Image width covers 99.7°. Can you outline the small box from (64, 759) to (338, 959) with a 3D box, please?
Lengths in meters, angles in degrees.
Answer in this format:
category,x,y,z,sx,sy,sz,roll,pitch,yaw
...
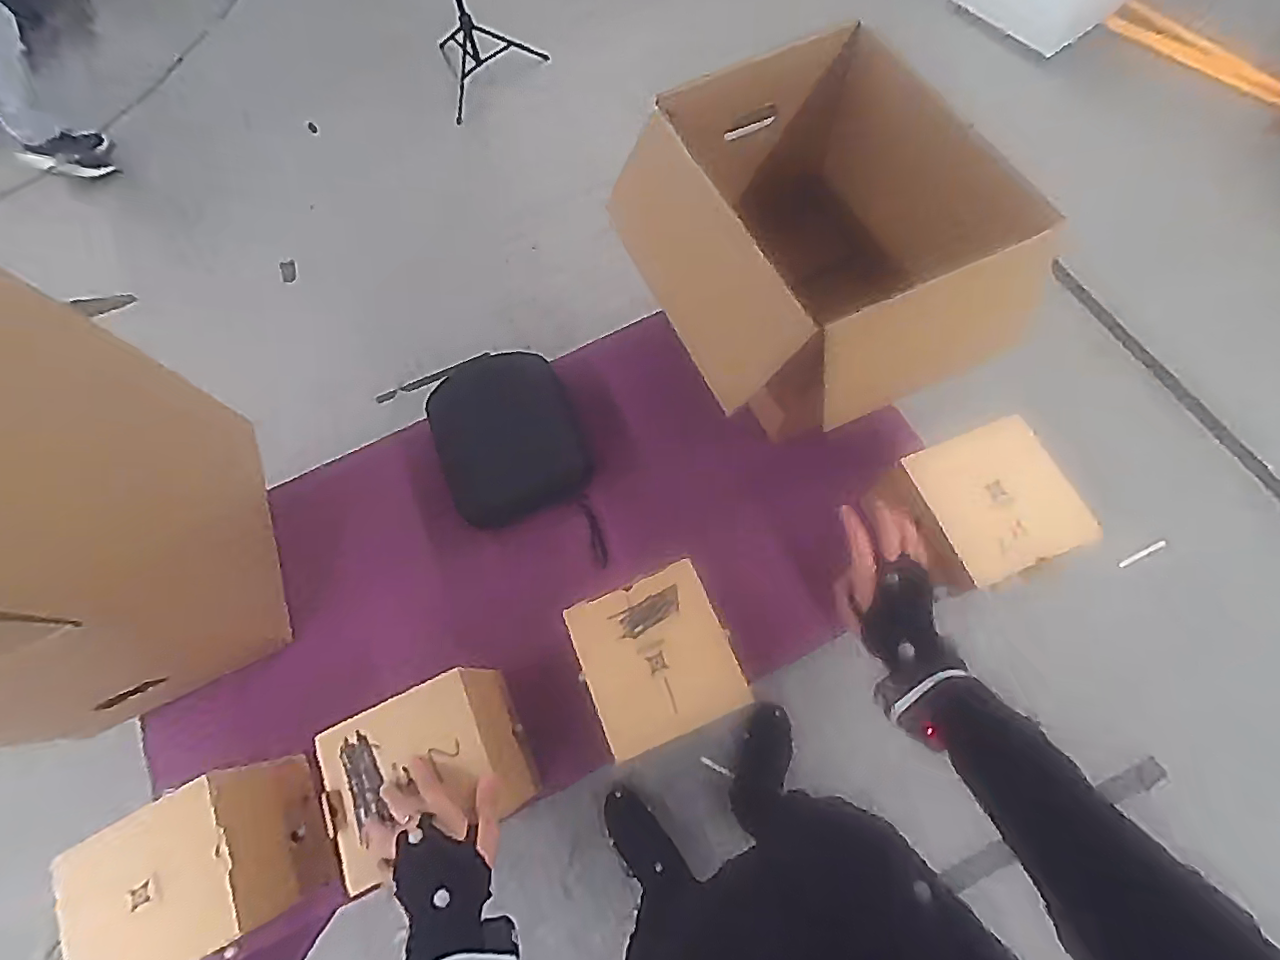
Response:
category,x,y,z,sx,sy,sz,roll,pitch,yaw
small box,-0.504,0.460,0.641,0.179,0.176,0.168,-28,70,-7

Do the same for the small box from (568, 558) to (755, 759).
category,x,y,z,sx,sy,sz,roll,pitch,yaw
small box,0.024,0.223,0.686,0.168,0.176,0.179,-23,71,-4

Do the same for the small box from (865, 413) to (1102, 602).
category,x,y,z,sx,sy,sz,roll,pitch,yaw
small box,0.430,0.045,0.717,0.168,0.176,0.179,-21,70,-2
